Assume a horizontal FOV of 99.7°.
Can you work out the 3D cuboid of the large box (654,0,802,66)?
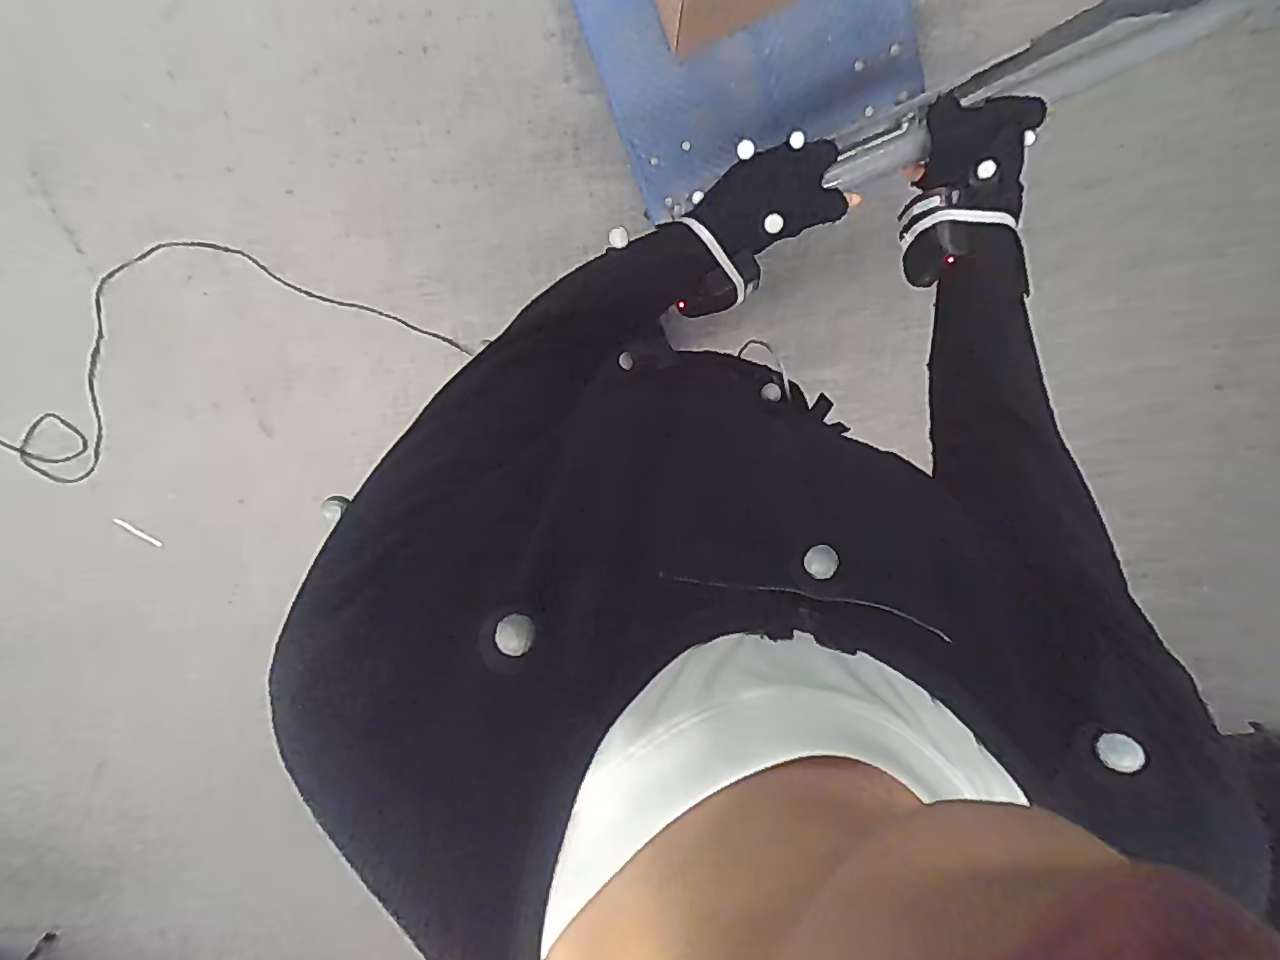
[{"bbox_3d":[0.190,-0.953,0.837,0.408,0.320,0.320,-22,107,10],"label":"large box"}]
